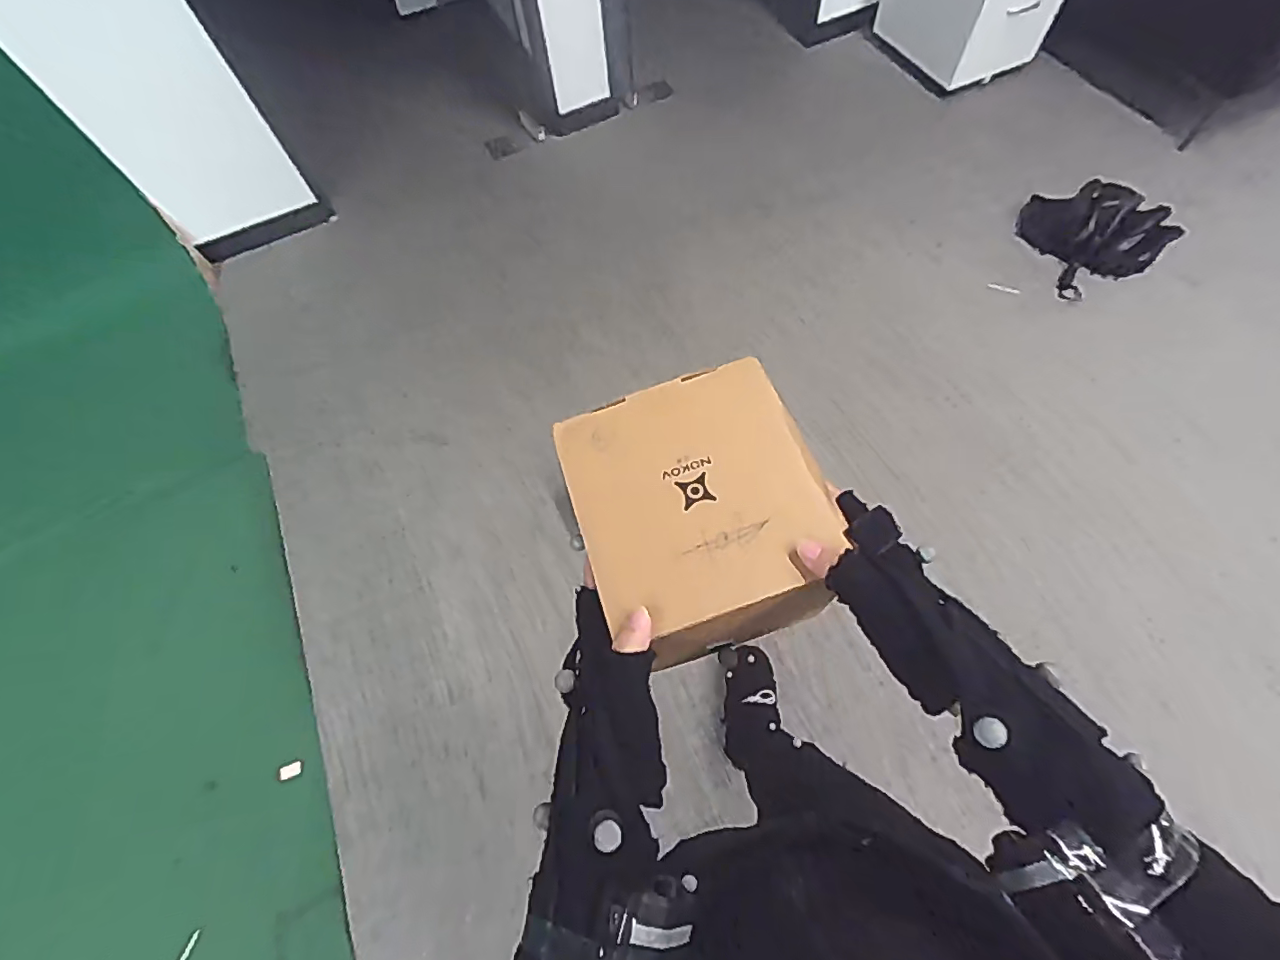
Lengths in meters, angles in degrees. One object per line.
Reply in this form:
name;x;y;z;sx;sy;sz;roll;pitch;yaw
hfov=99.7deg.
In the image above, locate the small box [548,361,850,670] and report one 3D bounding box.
small box;0.041;0.040;0.444;0.168;0.176;0.179;-20;65;0
